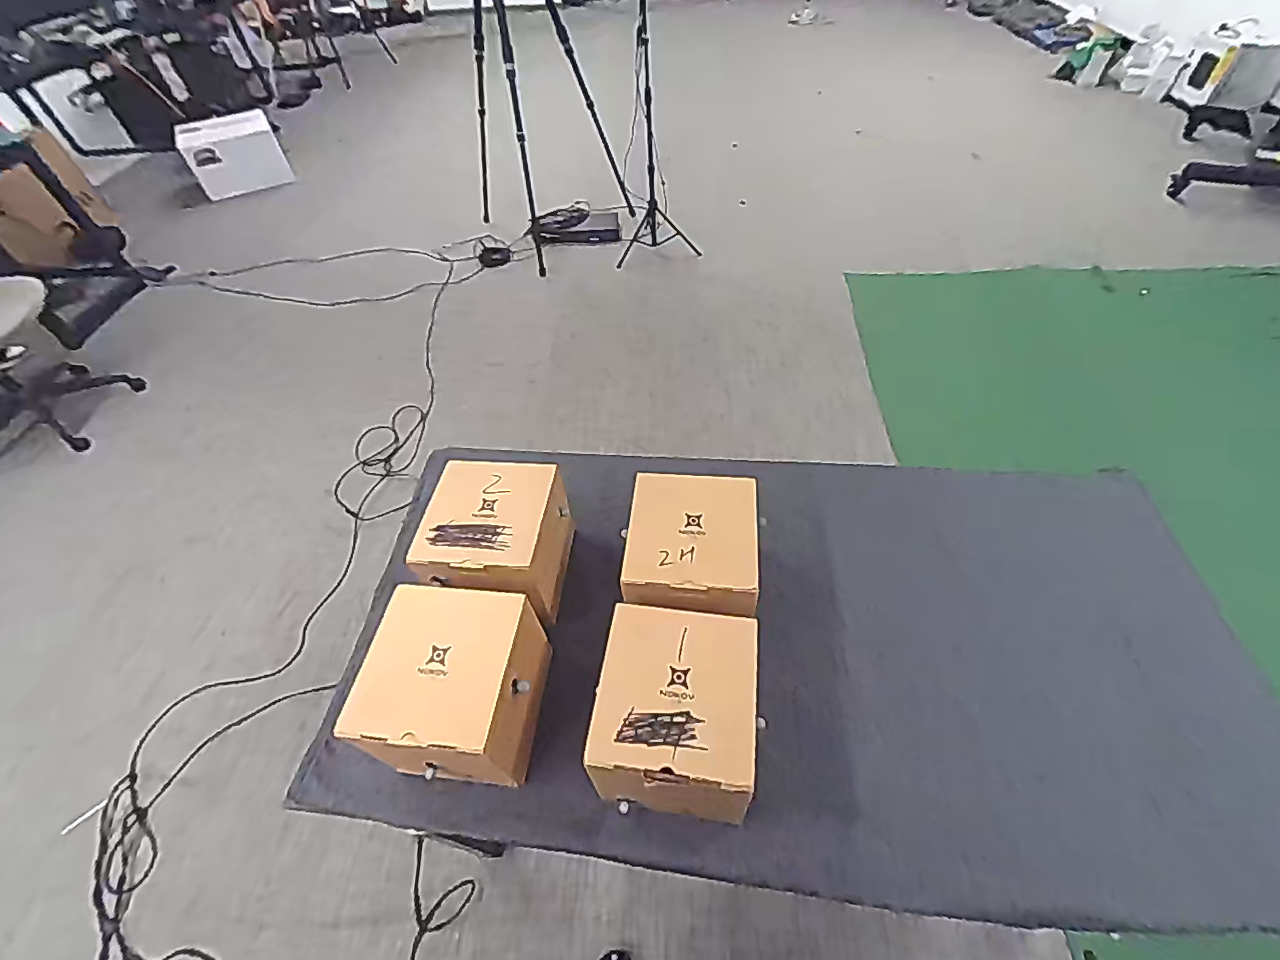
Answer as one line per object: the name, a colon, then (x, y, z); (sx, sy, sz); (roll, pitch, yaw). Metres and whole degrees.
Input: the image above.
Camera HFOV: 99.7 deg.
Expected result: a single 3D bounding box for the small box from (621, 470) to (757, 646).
small box: (0.071, 0.109, 0.757); (0.168, 0.176, 0.179); (3, 51, 7)
